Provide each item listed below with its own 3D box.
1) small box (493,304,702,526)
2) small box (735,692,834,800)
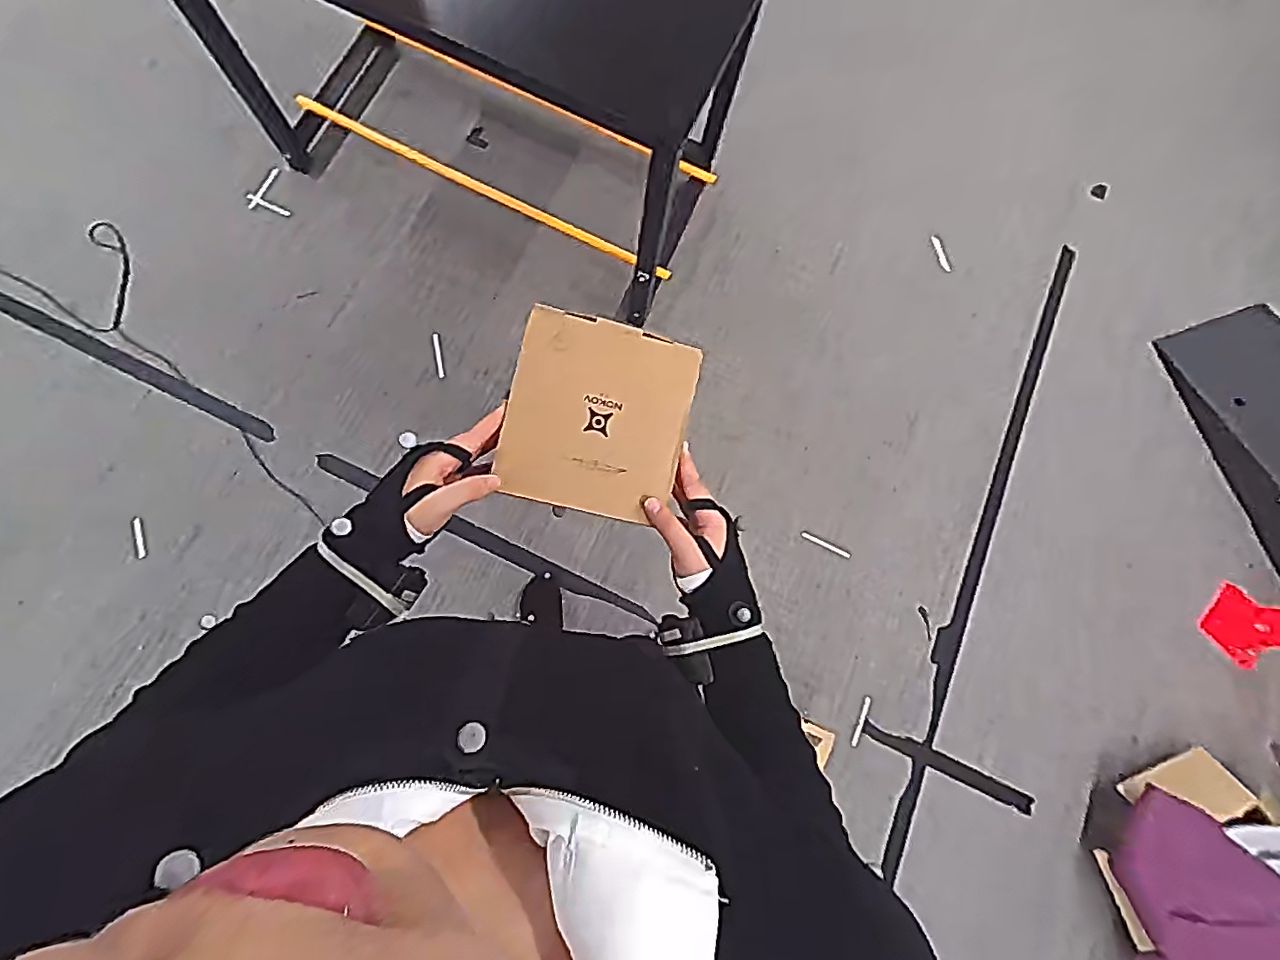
[{"bbox_3d":[-0.049,-0.058,0.575,0.168,0.176,0.179,12,89,-8],"label":"small box"},{"bbox_3d":[0.364,0.677,1.401,0.168,0.176,0.179,28,79,1],"label":"small box"}]
